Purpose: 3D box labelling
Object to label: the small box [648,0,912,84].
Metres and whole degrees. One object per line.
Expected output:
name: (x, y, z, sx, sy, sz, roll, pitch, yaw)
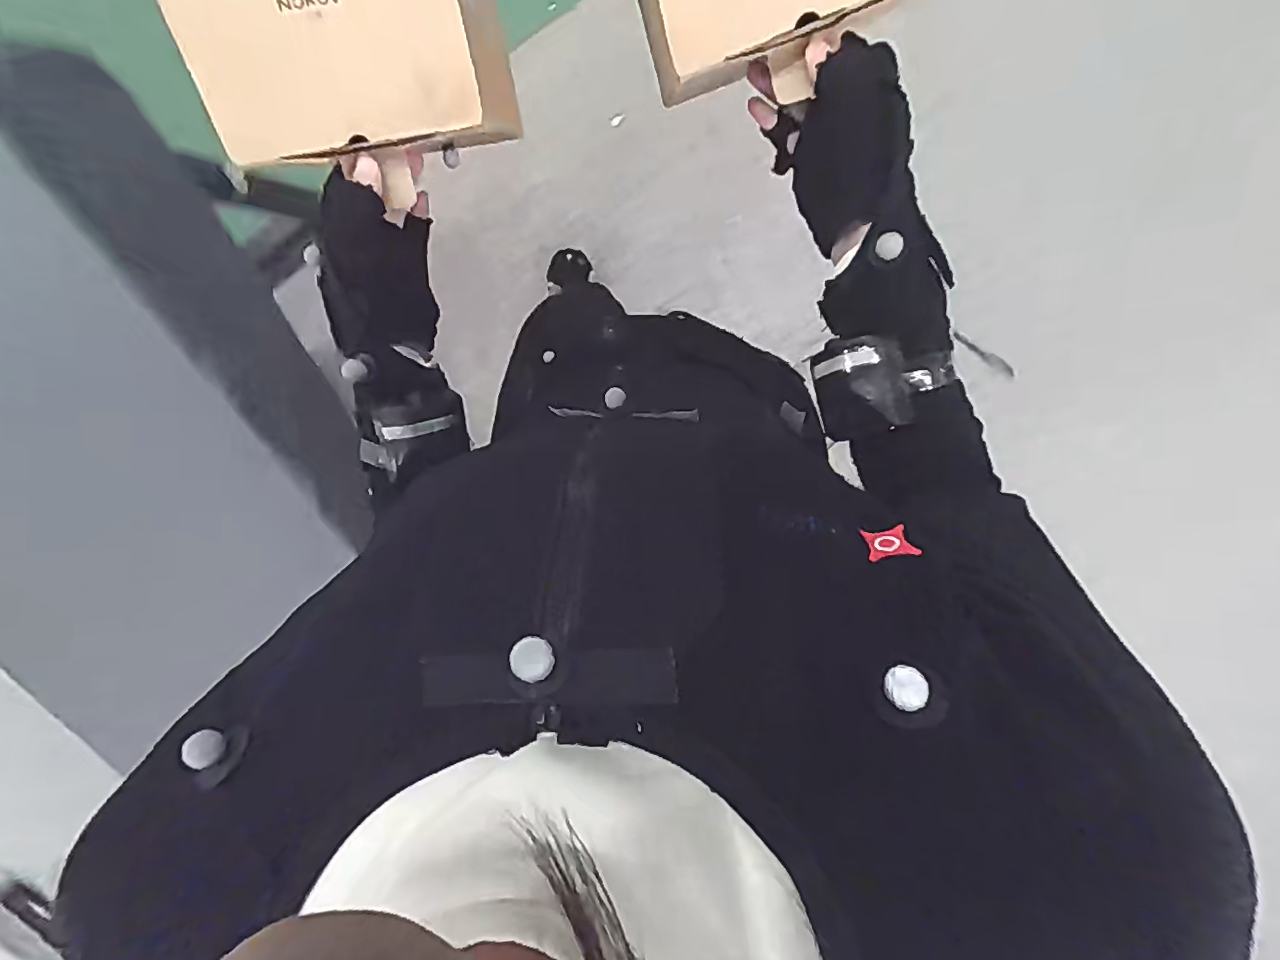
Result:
small box: (0.083, -0.388, 0.356, 0.168, 0.176, 0.179, -15, 120, 7)
